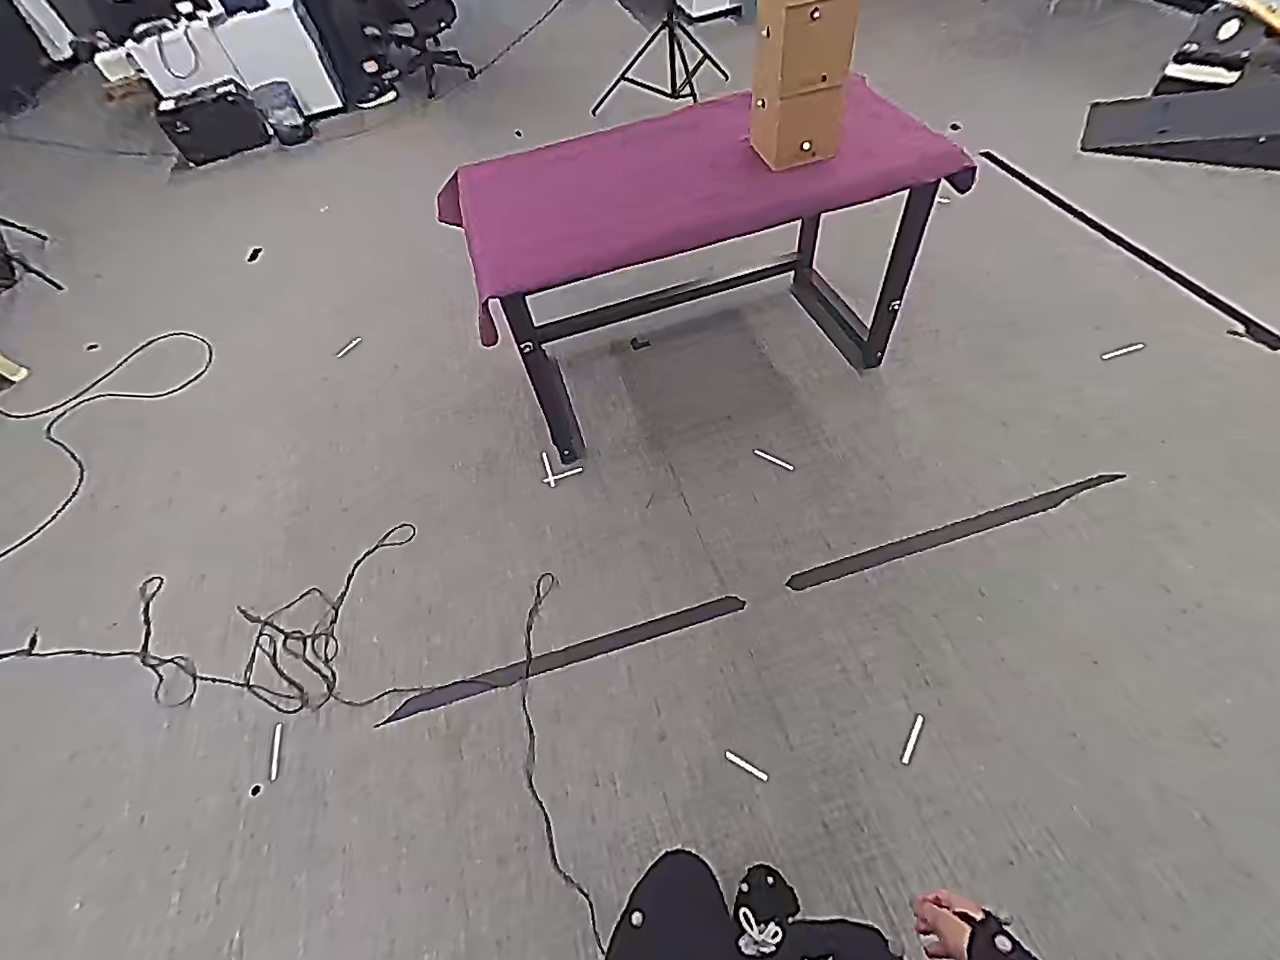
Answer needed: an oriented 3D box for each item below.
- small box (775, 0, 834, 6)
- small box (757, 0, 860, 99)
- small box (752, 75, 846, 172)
[{"bbox_3d":[0.353,-1.084,1.085,0.168,0.176,0.179,-14,55,-1],"label":"small box"},{"bbox_3d":[0.370,-0.997,1.223,0.168,0.176,0.179,-14,54,-1],"label":"small box"},{"bbox_3d":[0.389,-0.909,1.359,0.168,0.176,0.179,-16,55,-2],"label":"small box"}]
